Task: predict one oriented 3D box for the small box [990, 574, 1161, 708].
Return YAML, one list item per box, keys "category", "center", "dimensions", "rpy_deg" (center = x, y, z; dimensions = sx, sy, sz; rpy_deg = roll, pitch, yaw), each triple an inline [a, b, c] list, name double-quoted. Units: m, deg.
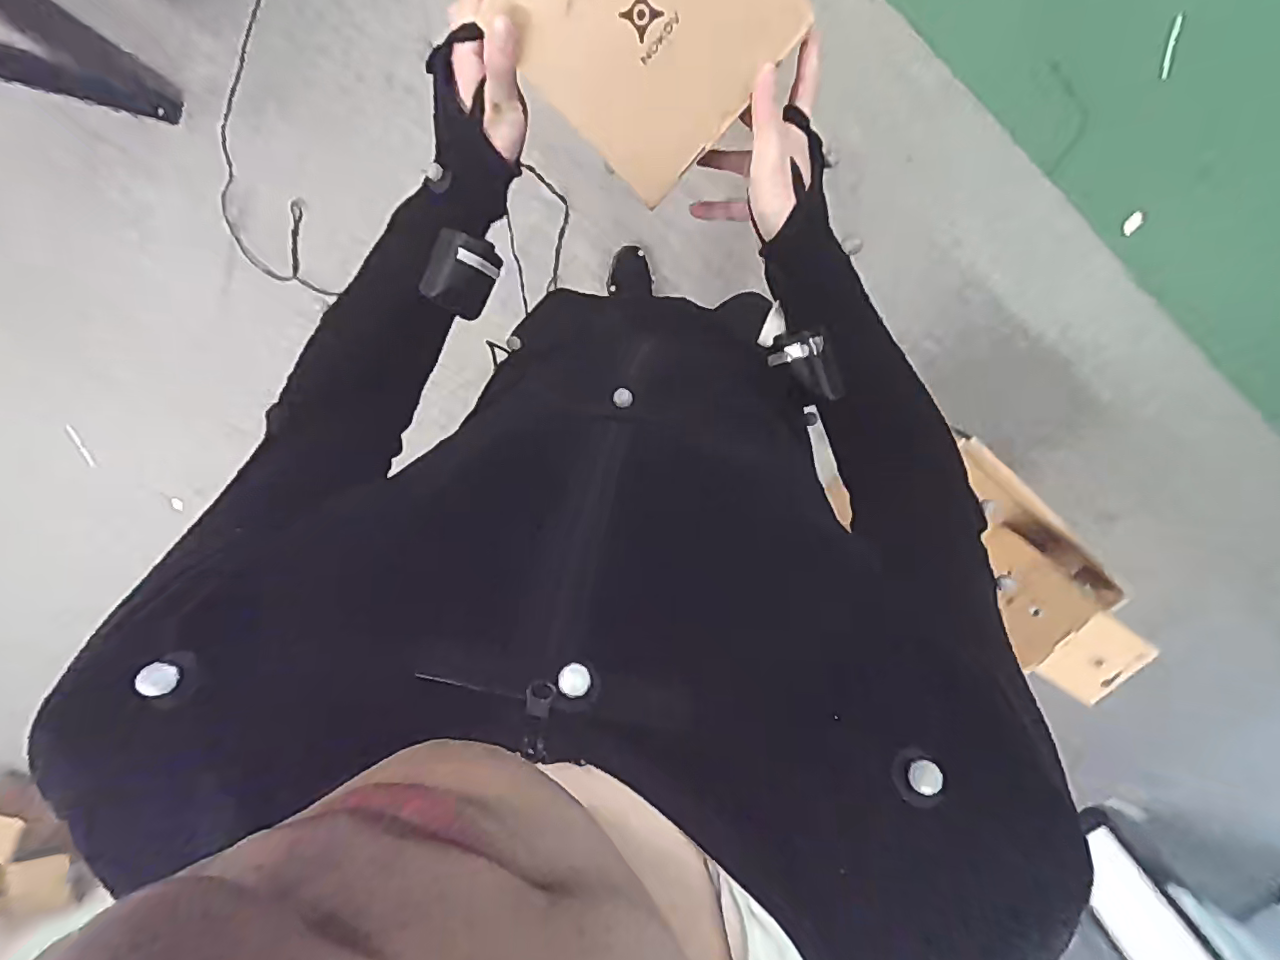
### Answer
- category: "small box"
  center: [0.872, 0.318, 1.104]
  dimensions: [0.179, 0.176, 0.168]
  rpy_deg: [32, 111, -12]
